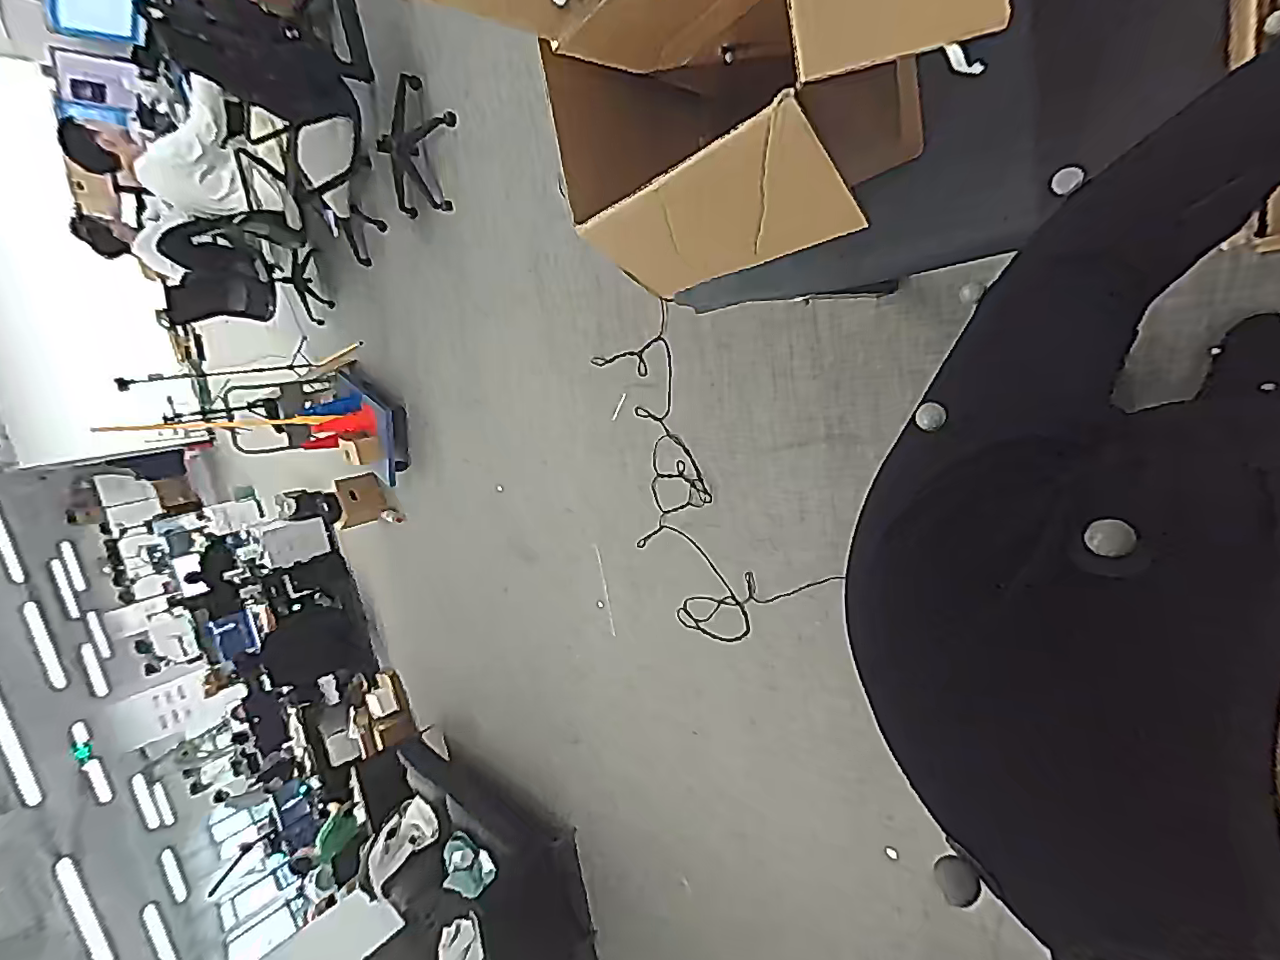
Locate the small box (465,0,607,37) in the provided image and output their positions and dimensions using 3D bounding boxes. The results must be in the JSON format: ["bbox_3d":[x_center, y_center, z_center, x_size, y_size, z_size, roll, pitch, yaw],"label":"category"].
[{"bbox_3d":[-0.100,-0.517,0.441,0.168,0.176,0.179,2,109,47],"label":"small box"}]
